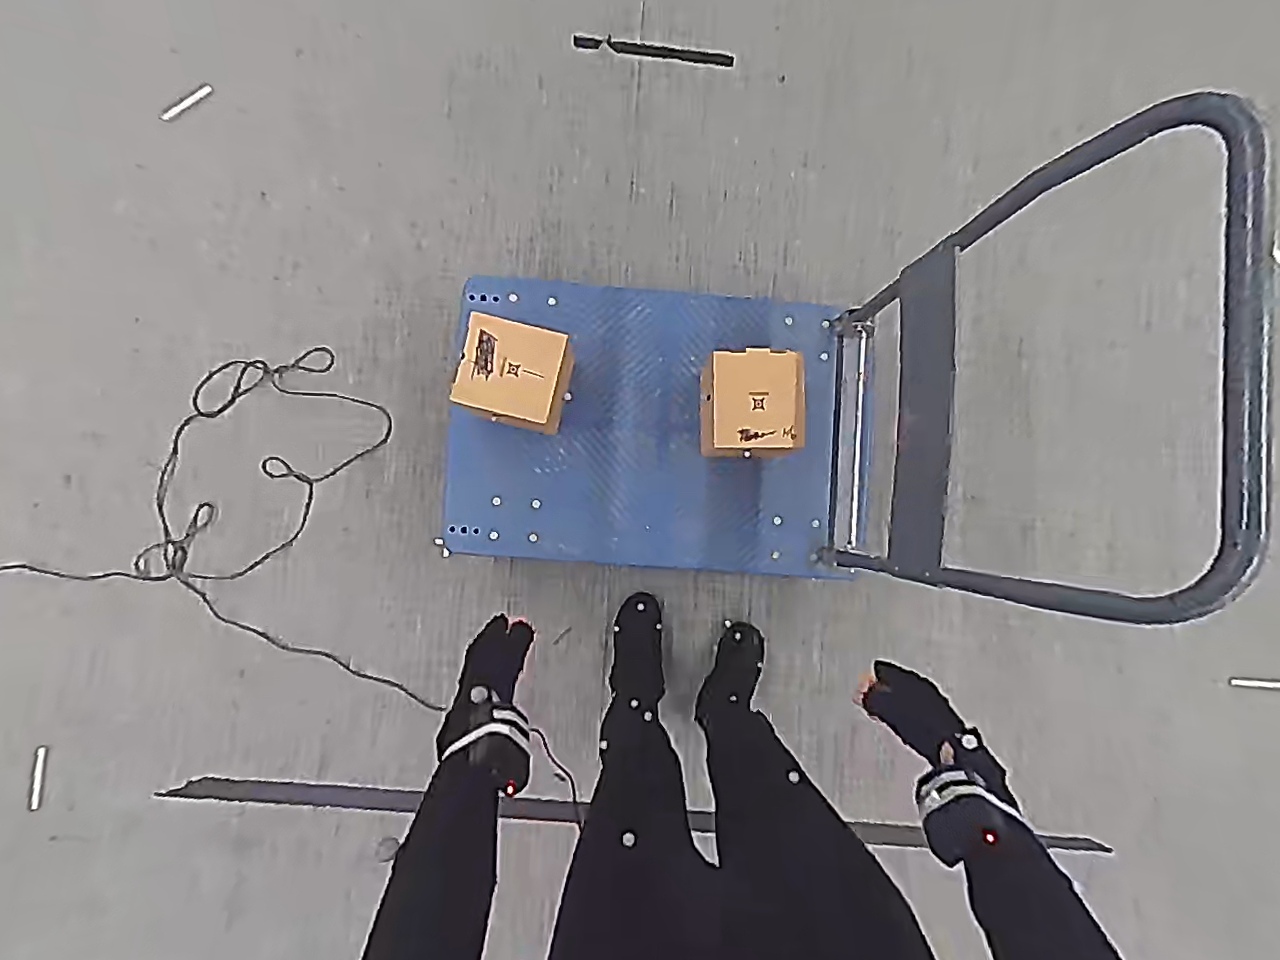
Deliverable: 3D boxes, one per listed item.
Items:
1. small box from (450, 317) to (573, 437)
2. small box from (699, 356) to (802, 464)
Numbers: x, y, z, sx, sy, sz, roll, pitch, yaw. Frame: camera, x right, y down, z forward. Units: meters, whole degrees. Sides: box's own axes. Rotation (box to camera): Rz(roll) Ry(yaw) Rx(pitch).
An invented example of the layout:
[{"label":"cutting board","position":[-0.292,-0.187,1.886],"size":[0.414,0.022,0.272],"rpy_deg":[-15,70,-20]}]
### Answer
[{"label":"small box","position":[-0.235,-0.186,1.033],"size":[0.179,0.176,0.168],"rpy_deg":[14,87,-2]},{"label":"small box","position":[0.206,-0.129,1.047],"size":[0.168,0.176,0.179],"rpy_deg":[0,86,-1]}]
